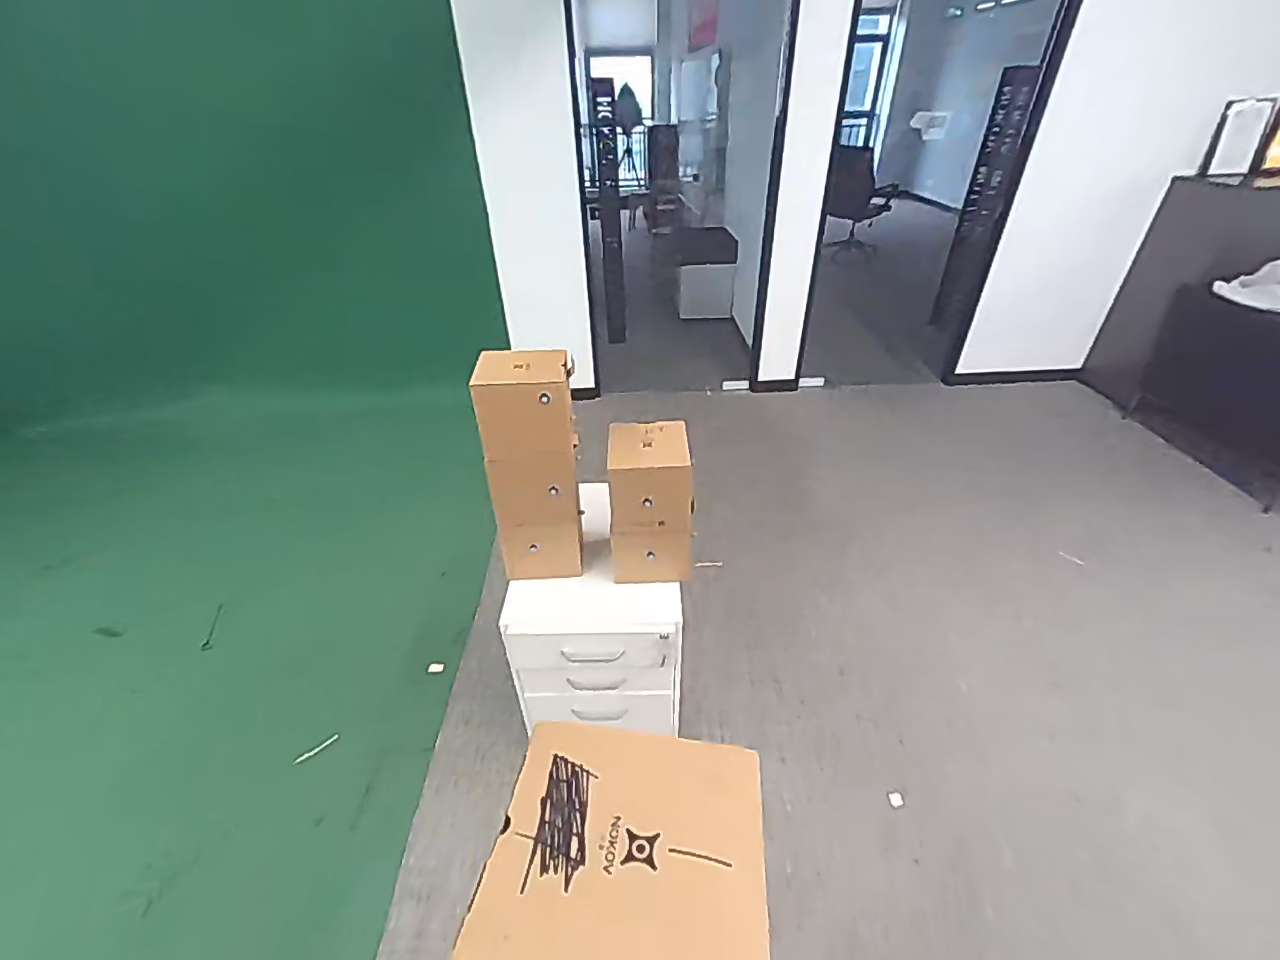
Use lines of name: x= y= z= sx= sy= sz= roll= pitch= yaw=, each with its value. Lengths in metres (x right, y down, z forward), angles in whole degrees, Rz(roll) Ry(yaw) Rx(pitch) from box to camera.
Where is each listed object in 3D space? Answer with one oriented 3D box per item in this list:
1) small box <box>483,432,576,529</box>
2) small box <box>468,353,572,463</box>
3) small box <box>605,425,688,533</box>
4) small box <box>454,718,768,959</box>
small box: x=-0.232 y=-0.009 z=1.183 sx=0.179 sy=0.176 sz=0.168 roll=-4 pitch=35 yaw=-5
small box: x=-0.232 y=-0.145 z=1.092 sx=0.179 sy=0.176 sz=0.168 roll=-2 pitch=35 yaw=-5
small box: x=0.016 y=0.000 z=1.159 sx=0.168 sy=0.176 sz=0.179 roll=-2 pitch=36 yaw=0
small box: x=-0.008 y=0.308 z=0.392 sx=0.179 sy=0.176 sz=0.168 roll=6 pitch=27 yaw=7
